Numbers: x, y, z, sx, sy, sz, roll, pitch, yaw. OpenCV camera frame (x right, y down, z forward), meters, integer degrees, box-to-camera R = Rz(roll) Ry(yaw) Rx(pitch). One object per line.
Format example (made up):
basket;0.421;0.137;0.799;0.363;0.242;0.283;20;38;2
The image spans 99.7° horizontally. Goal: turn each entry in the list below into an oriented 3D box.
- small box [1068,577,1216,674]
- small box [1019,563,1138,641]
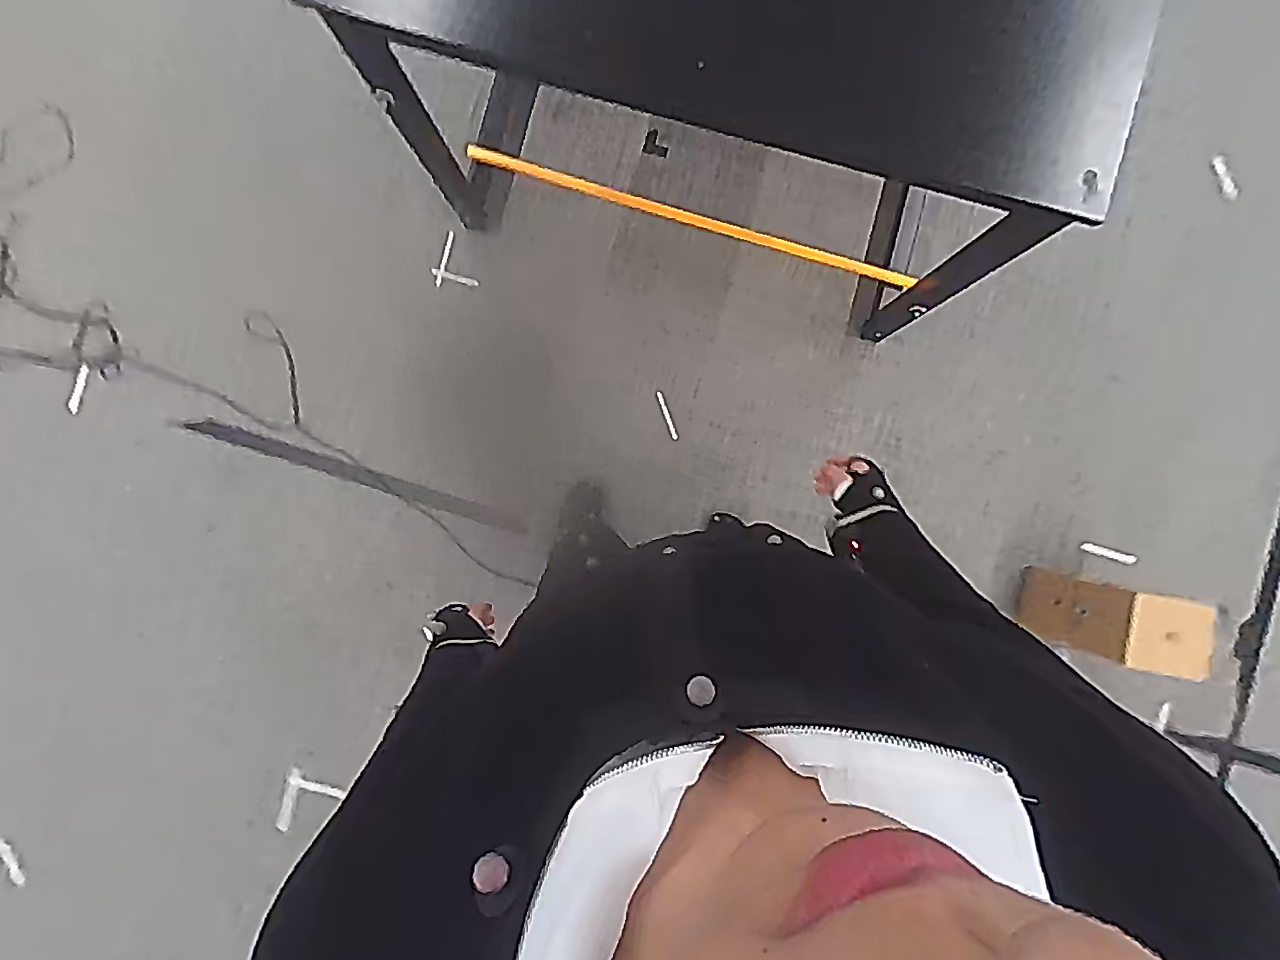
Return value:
small box;1.137;0.325;1.238;0.179;0.176;0.168;9;88;2
small box;1.128;0.323;1.401;0.168;0.176;0.179;13;90;1
